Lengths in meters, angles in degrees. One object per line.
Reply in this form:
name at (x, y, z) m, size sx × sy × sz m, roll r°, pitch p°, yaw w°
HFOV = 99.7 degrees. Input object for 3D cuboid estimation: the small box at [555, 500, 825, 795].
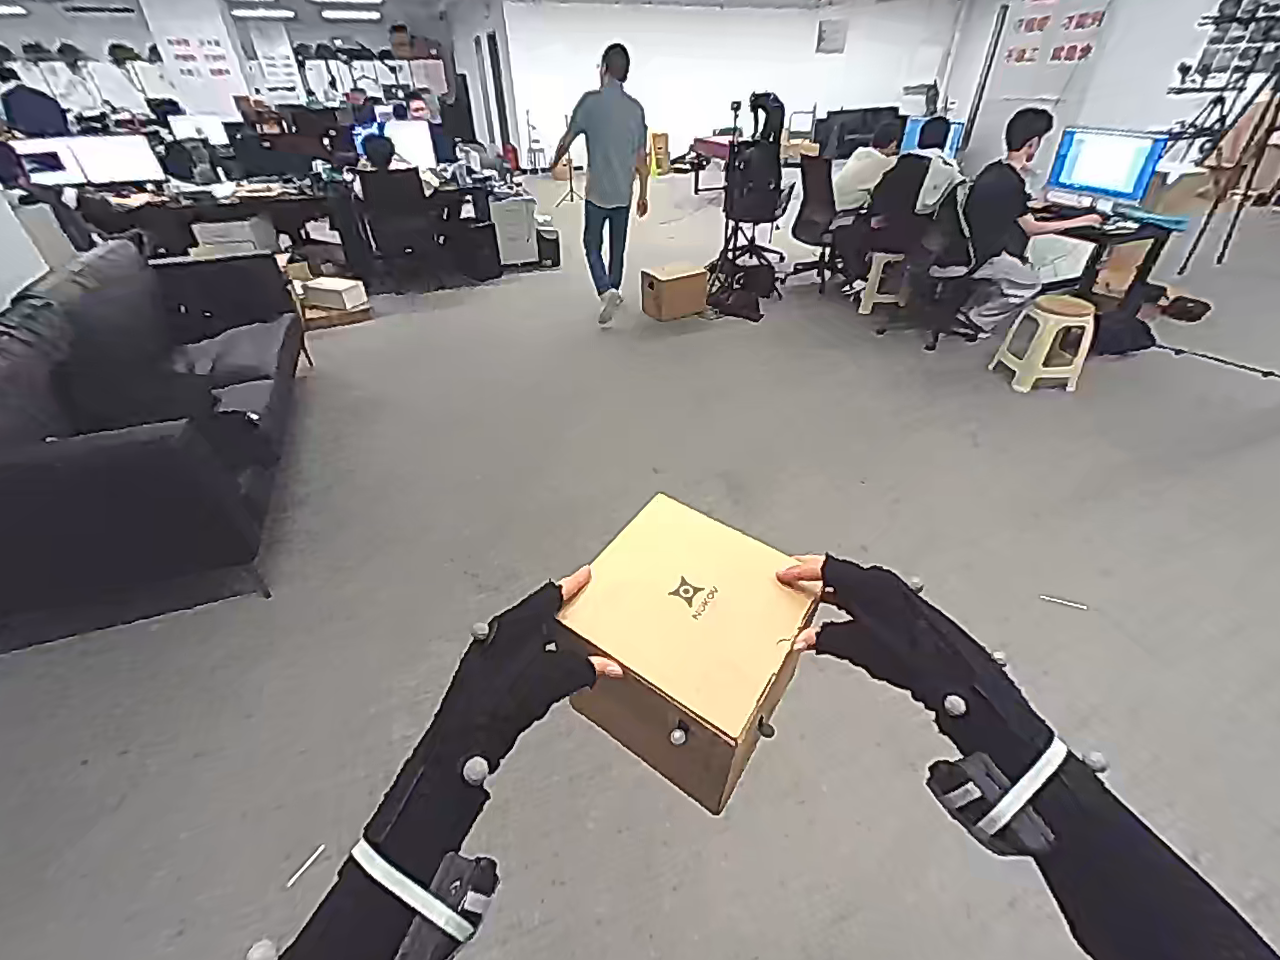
small box at (0.045, 0.156, 0.510) m, size 0.179 × 0.176 × 0.168 m, roll 26°, pitch 50°, yaw 25°
